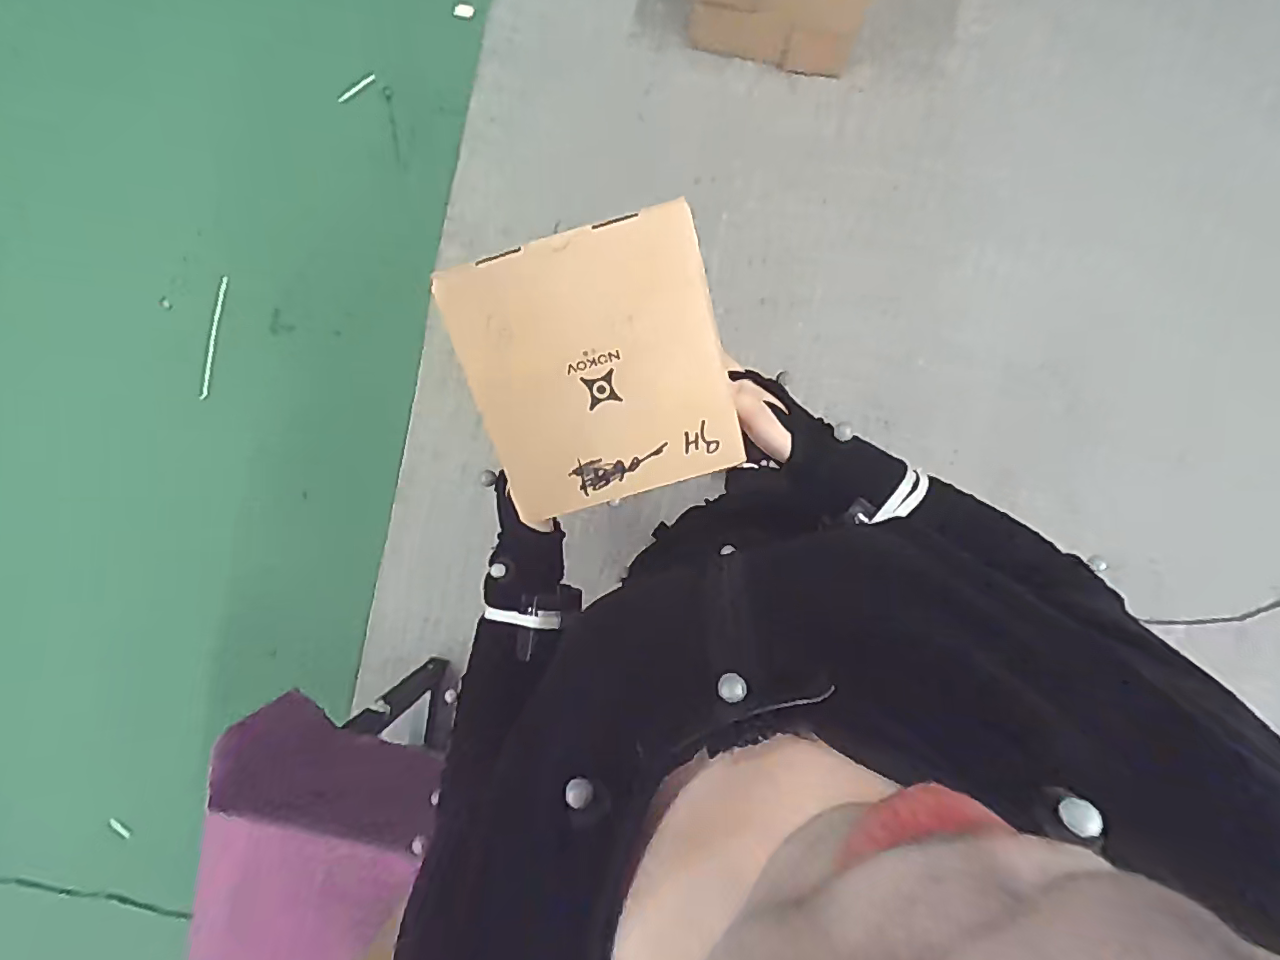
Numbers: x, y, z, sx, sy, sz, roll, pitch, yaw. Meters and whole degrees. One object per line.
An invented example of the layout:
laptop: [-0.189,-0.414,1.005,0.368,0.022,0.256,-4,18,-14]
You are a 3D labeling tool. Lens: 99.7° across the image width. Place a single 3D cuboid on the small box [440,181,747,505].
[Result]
small box: [-0.028,-0.105,0.425,0.168,0.176,0.179,-14,109,3]
